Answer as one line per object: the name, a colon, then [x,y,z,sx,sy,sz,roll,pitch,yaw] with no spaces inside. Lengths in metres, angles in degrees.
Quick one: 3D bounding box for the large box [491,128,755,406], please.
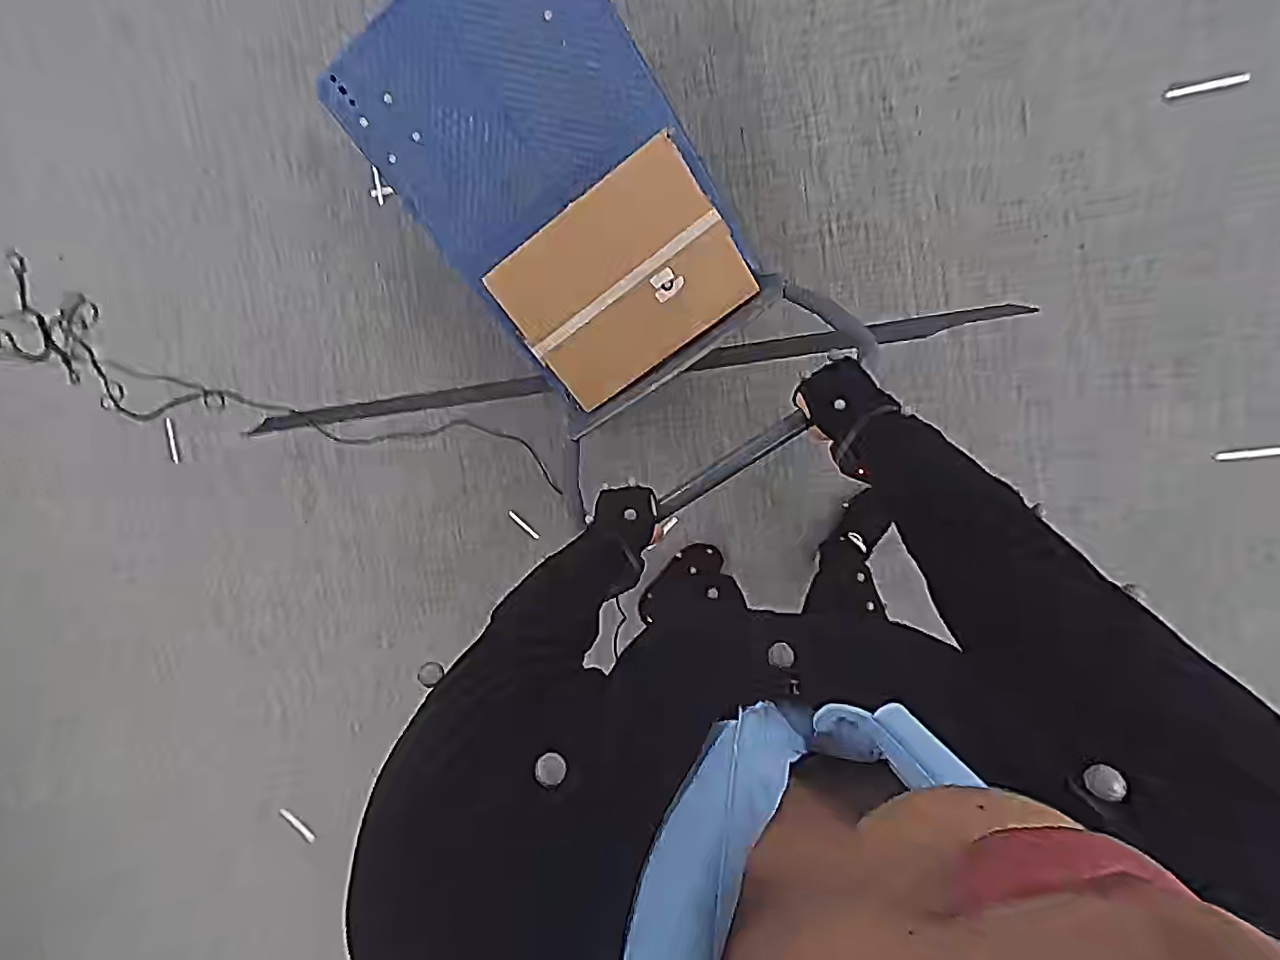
large box: [-0.039,-0.426,1.130,0.408,0.320,0.320,-36,112,11]
